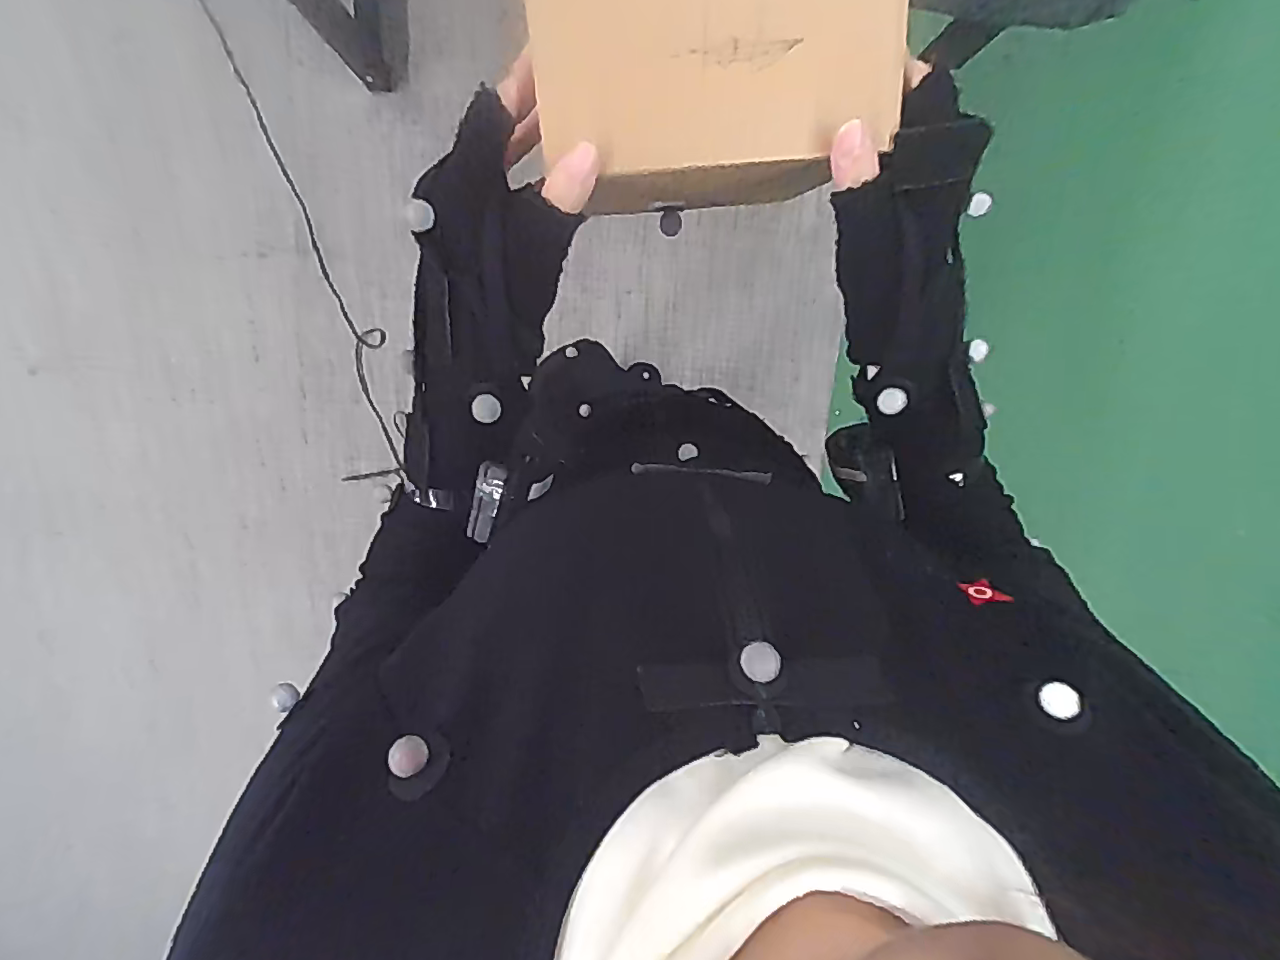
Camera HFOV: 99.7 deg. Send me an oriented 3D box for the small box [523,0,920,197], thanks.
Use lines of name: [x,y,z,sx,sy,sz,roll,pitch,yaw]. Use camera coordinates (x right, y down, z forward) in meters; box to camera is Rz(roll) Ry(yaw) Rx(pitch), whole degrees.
small box: [0.026,-0.262,0.281,0.168,0.176,0.179,-5,110,-2]
